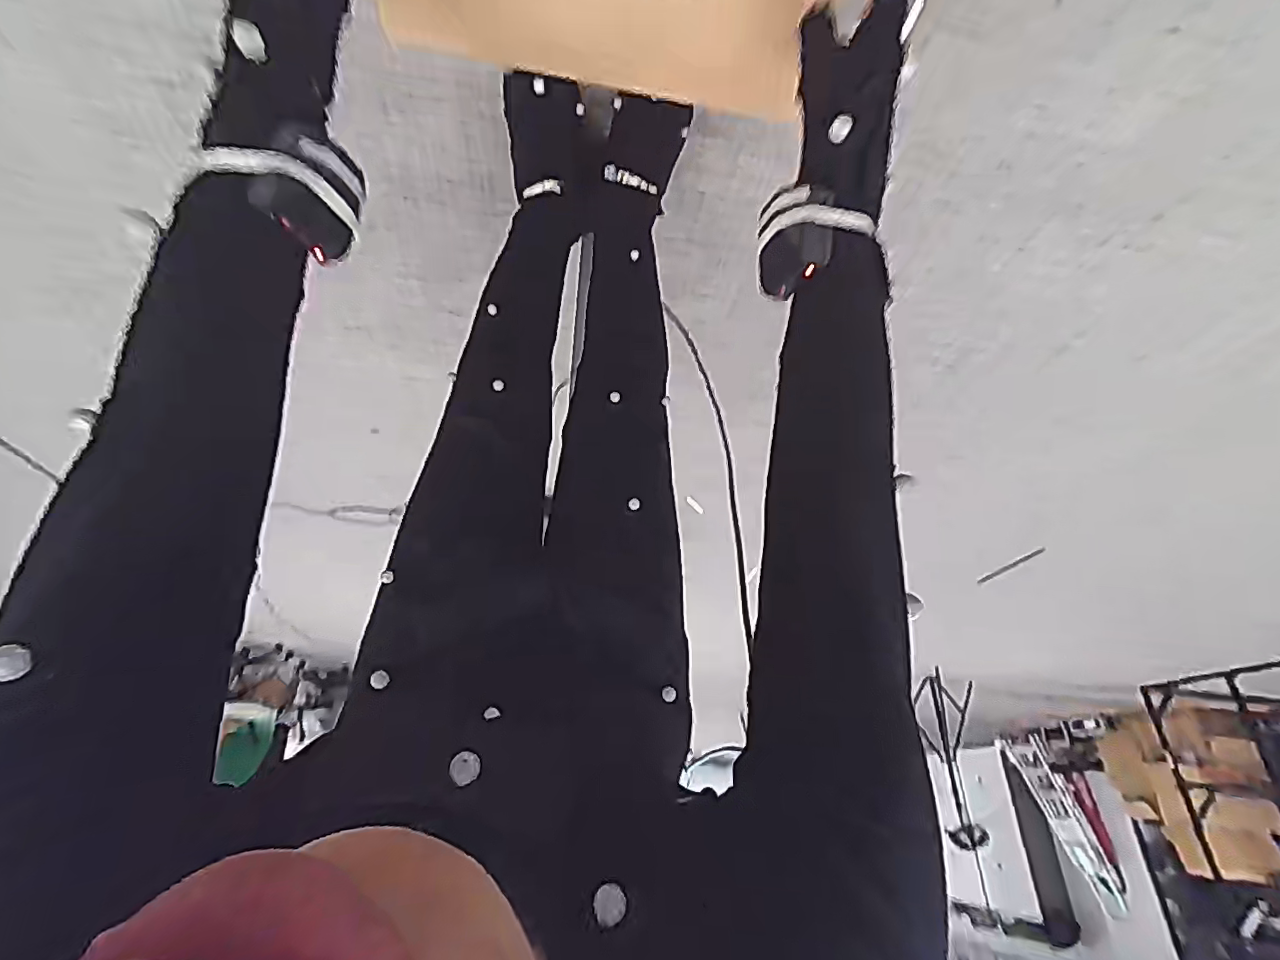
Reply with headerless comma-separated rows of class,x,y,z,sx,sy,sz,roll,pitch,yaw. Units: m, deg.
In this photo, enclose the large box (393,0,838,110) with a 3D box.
large box,-0.009,-0.602,0.484,0.408,0.320,0.320,6,150,-7
